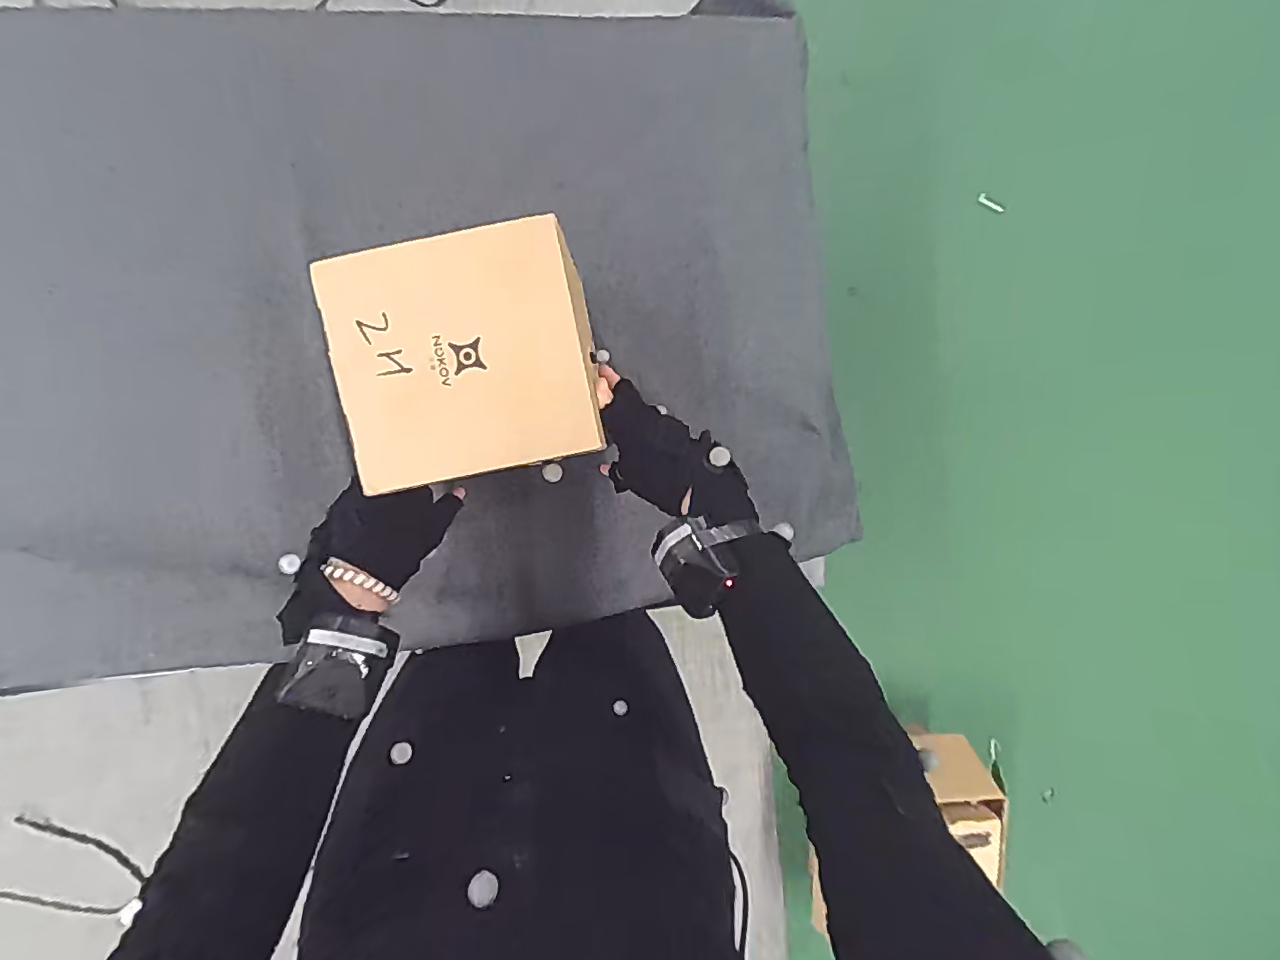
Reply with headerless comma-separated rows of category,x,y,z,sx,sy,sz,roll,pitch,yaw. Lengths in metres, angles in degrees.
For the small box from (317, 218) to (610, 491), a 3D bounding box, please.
small box,-0.123,-0.091,0.455,0.179,0.176,0.168,-10,93,2
